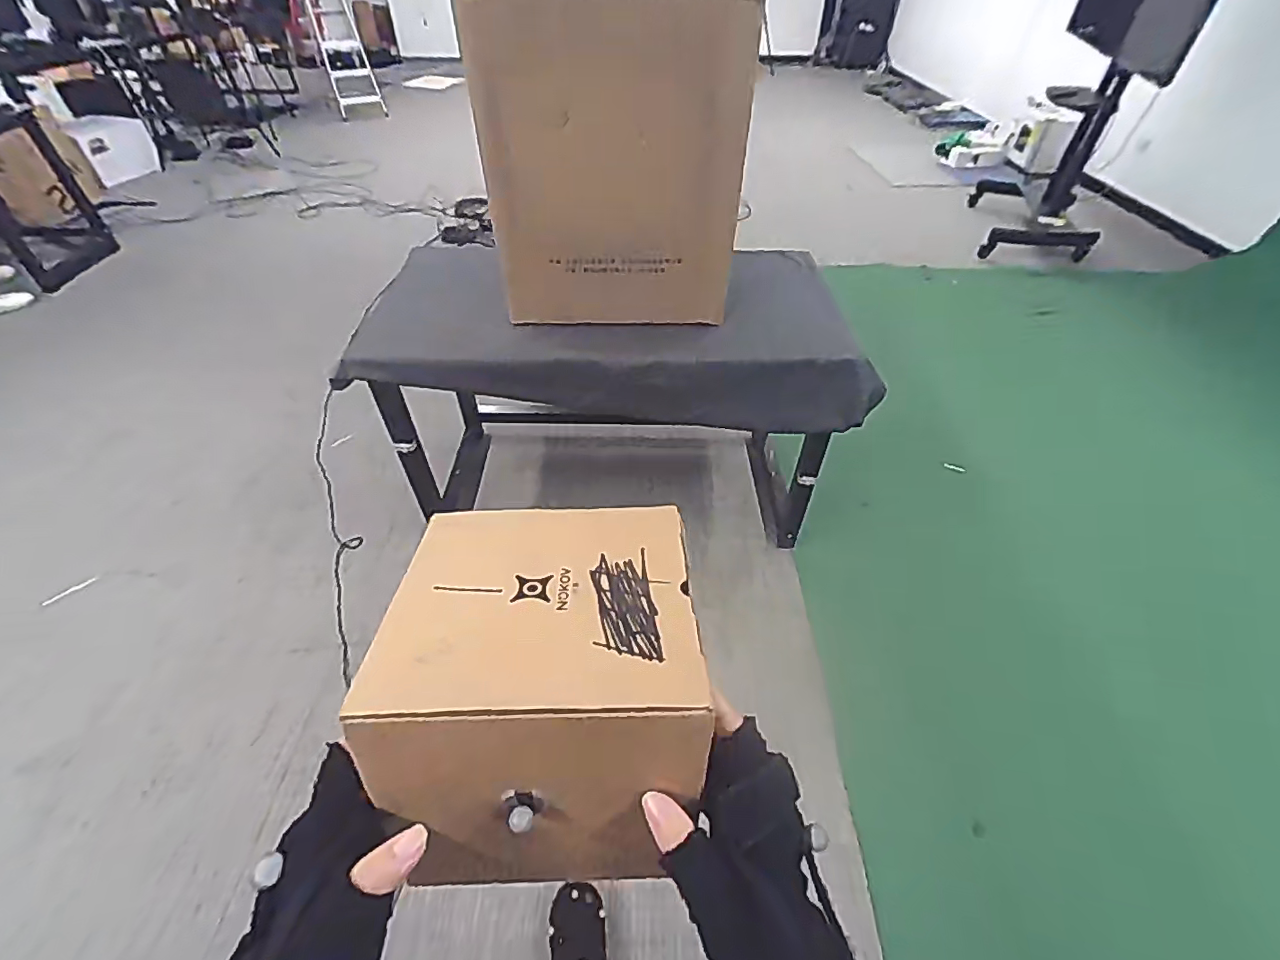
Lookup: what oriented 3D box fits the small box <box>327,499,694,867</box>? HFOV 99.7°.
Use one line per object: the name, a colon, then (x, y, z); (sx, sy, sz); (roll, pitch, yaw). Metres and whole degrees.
small box: (-0.065, 0.130, 0.365); (0.179, 0.176, 0.168); (1, 31, -2)
